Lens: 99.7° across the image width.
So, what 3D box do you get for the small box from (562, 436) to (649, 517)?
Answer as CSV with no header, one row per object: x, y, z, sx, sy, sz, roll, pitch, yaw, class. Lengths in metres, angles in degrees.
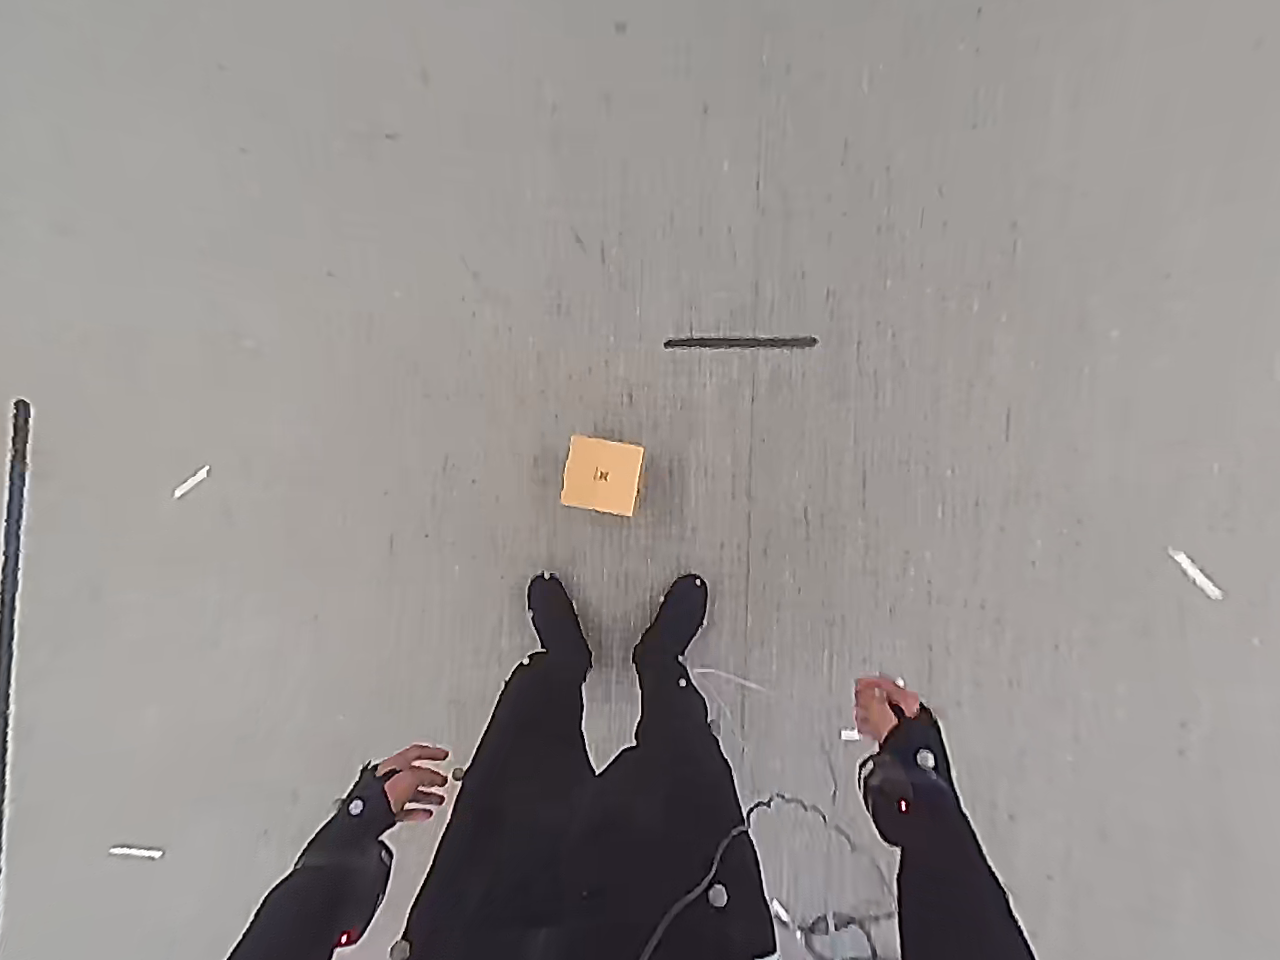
-0.077,-0.009,1.338,0.179,0.176,0.168,10,90,5,small box
